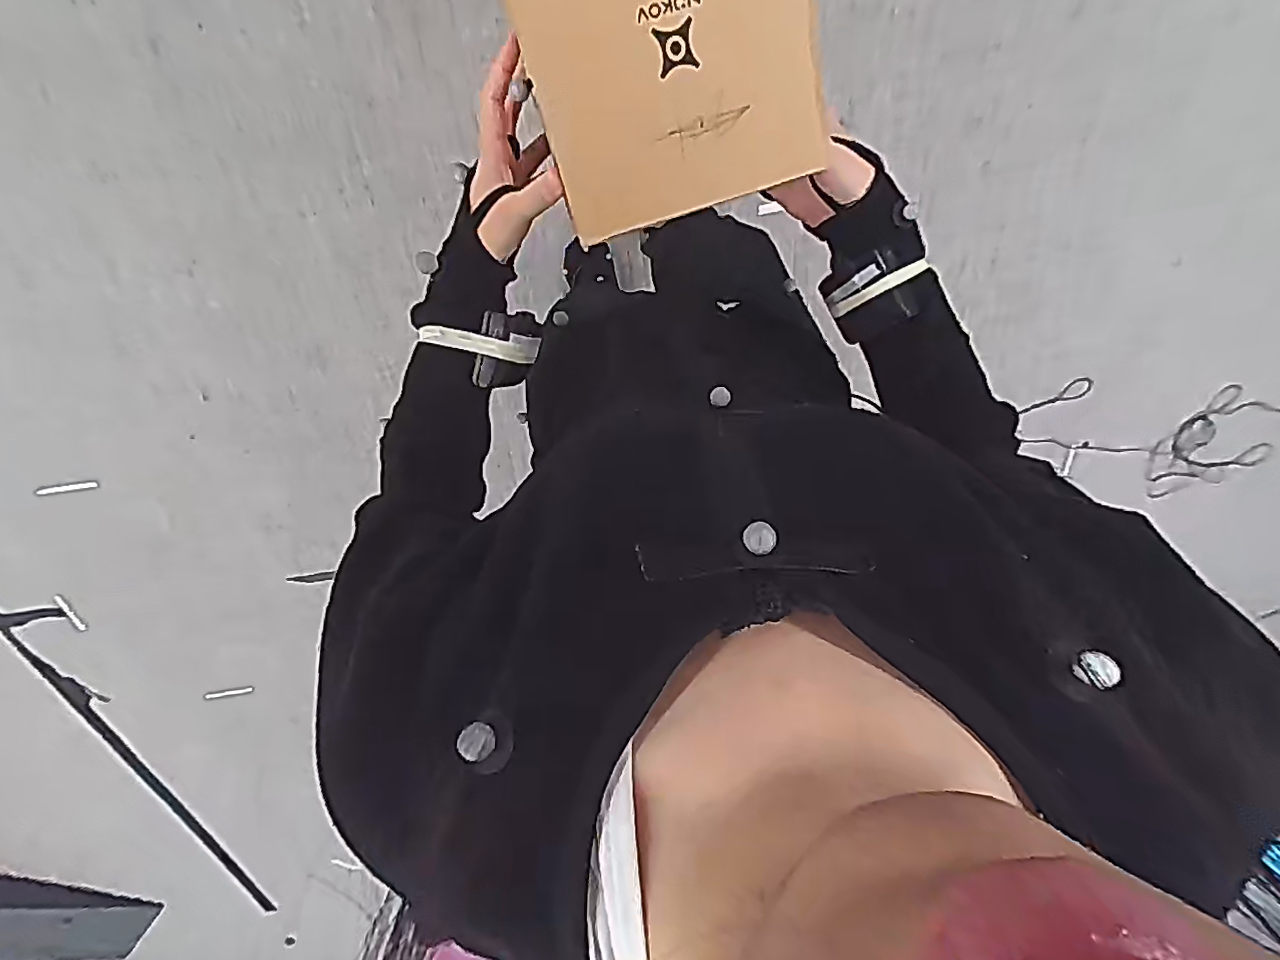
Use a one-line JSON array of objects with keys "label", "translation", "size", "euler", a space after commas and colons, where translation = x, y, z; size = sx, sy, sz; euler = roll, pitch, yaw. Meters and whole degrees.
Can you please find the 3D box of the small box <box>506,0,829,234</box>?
[{"label": "small box", "translation": [0.008, -0.285, 0.366], "size": [0.168, 0.176, 0.179], "euler": [-17, 121, 0]}]
